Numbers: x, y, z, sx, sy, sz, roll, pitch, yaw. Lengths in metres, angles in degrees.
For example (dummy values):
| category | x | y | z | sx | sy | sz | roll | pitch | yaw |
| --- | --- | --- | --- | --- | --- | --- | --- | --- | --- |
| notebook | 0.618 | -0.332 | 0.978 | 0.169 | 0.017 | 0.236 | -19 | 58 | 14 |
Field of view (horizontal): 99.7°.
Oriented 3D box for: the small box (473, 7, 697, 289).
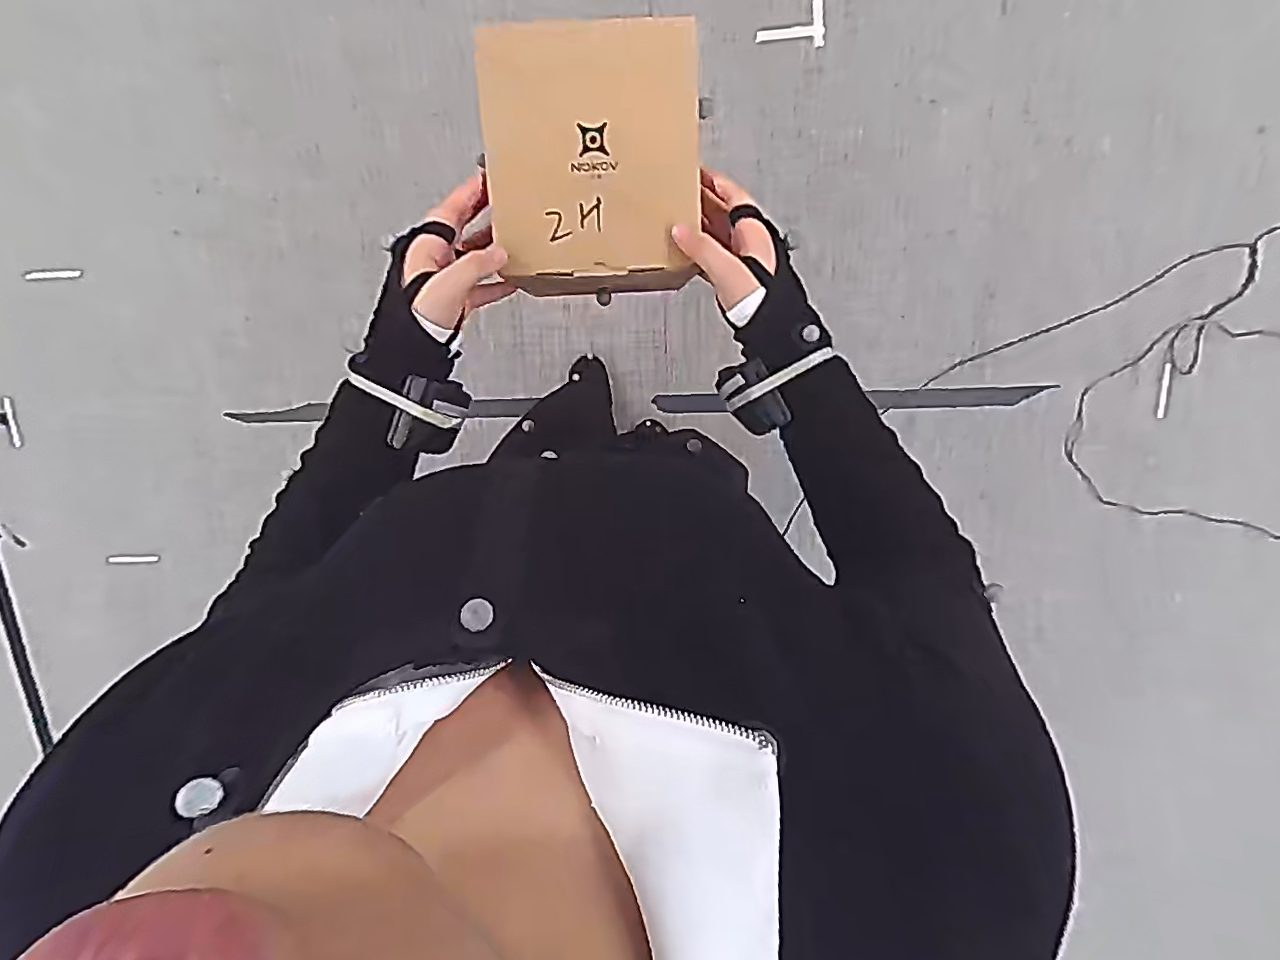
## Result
| category | x | y | z | sx | sy | sz | roll | pitch | yaw |
| --- | --- | --- | --- | --- | --- | --- | --- | --- | --- |
| small box | -0.041 | -0.277 | 0.490 | 0.168 | 0.176 | 0.179 | -3 | 104 | -1 |
